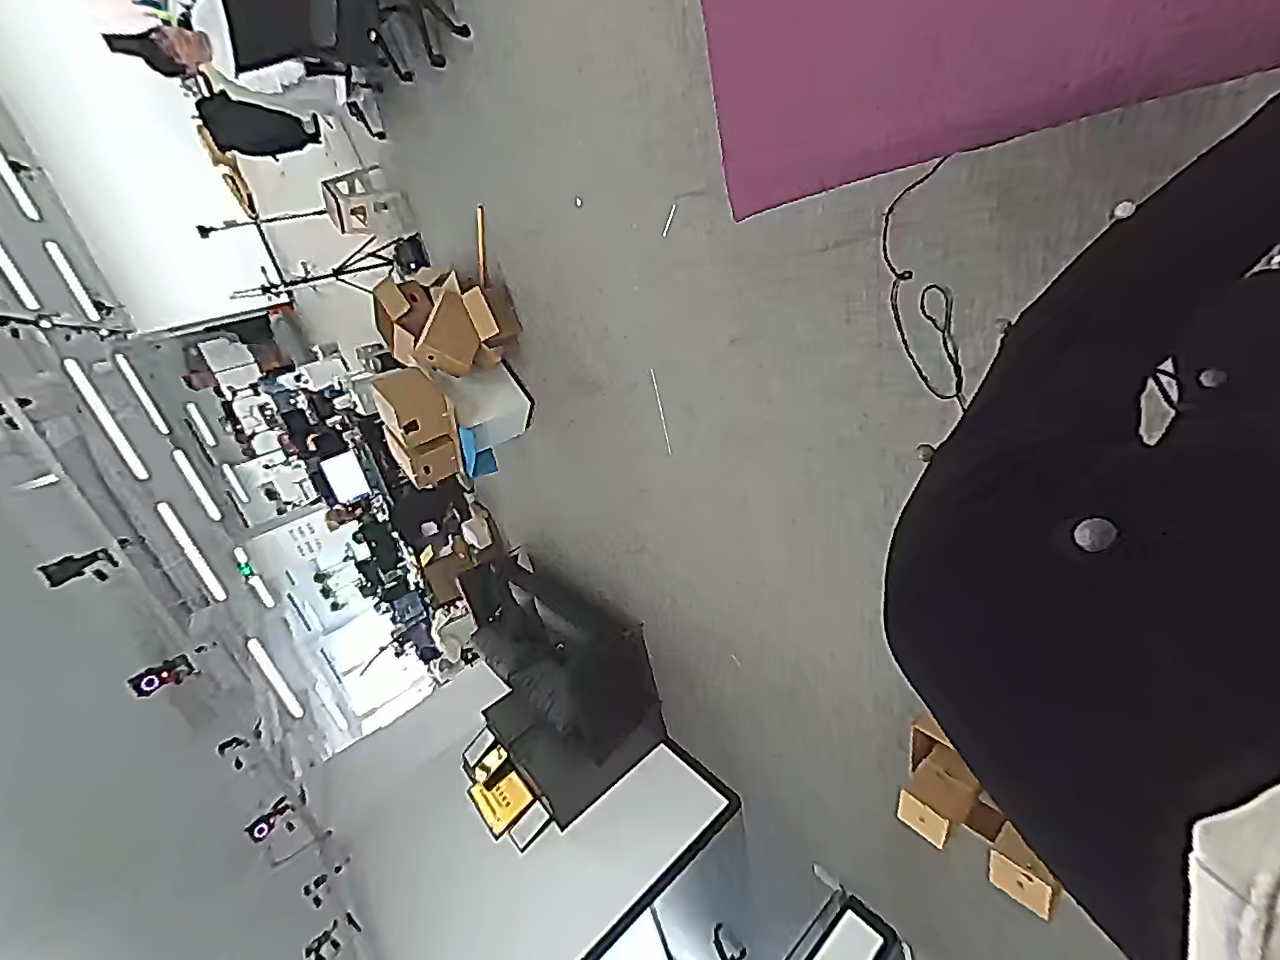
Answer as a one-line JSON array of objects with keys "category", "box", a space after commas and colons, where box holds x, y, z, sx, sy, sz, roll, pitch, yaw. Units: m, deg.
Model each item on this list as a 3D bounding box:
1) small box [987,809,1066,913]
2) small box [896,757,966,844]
[{"category": "small box", "box": [1.248, 1.223, 1.746, 0.168, 0.176, 0.179, 16, 128, 49]}, {"category": "small box", "box": [1.063, 1.166, 1.975, 0.168, 0.176, 0.179, 24, 132, 46]}]
